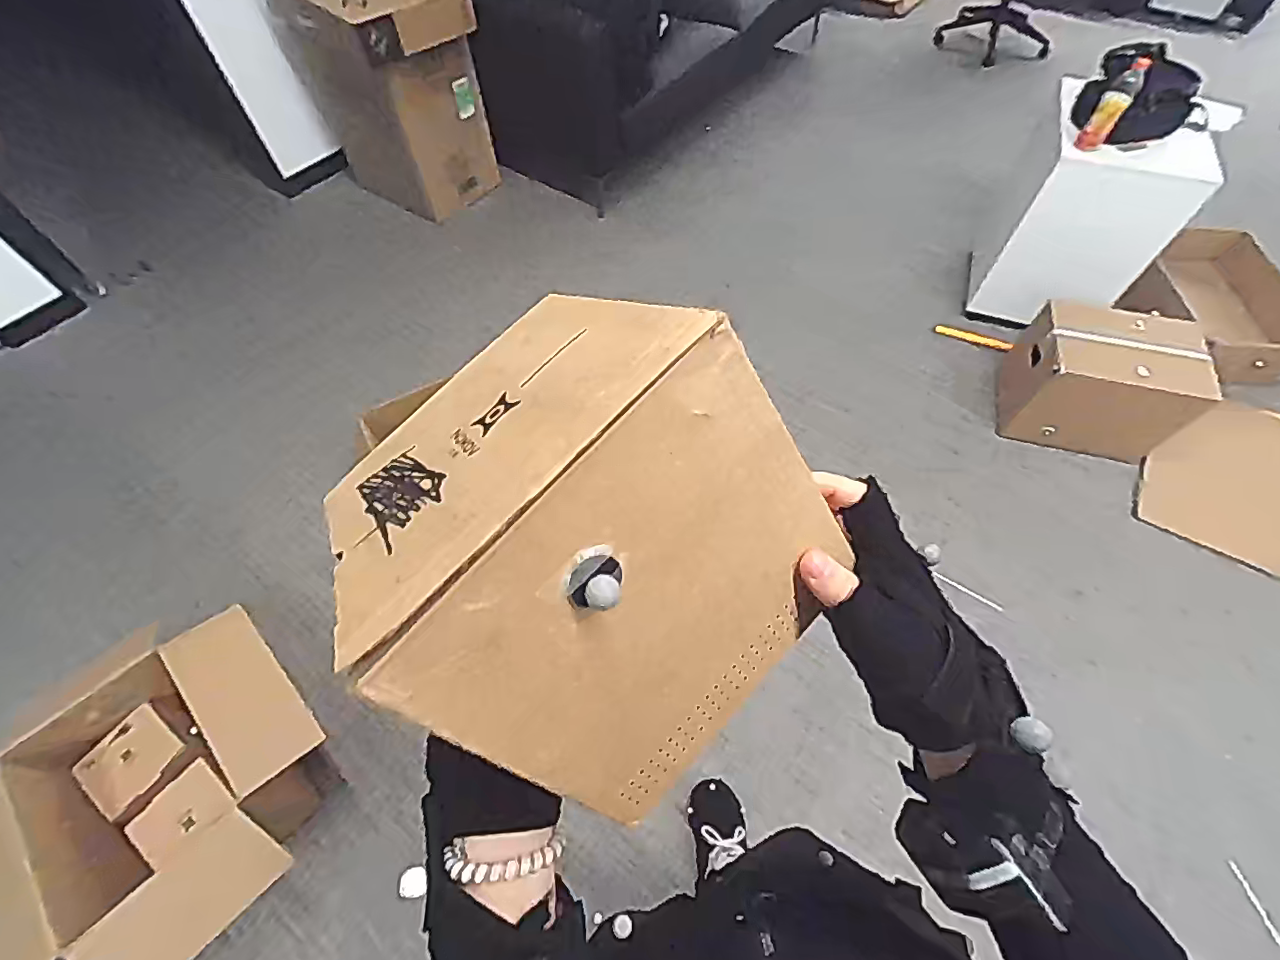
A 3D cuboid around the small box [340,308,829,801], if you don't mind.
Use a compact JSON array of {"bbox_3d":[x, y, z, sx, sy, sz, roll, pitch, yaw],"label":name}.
[{"bbox_3d":[-0.028,0.032,0.297,0.179,0.176,0.168,-46,35,-9],"label":"small box"}]
